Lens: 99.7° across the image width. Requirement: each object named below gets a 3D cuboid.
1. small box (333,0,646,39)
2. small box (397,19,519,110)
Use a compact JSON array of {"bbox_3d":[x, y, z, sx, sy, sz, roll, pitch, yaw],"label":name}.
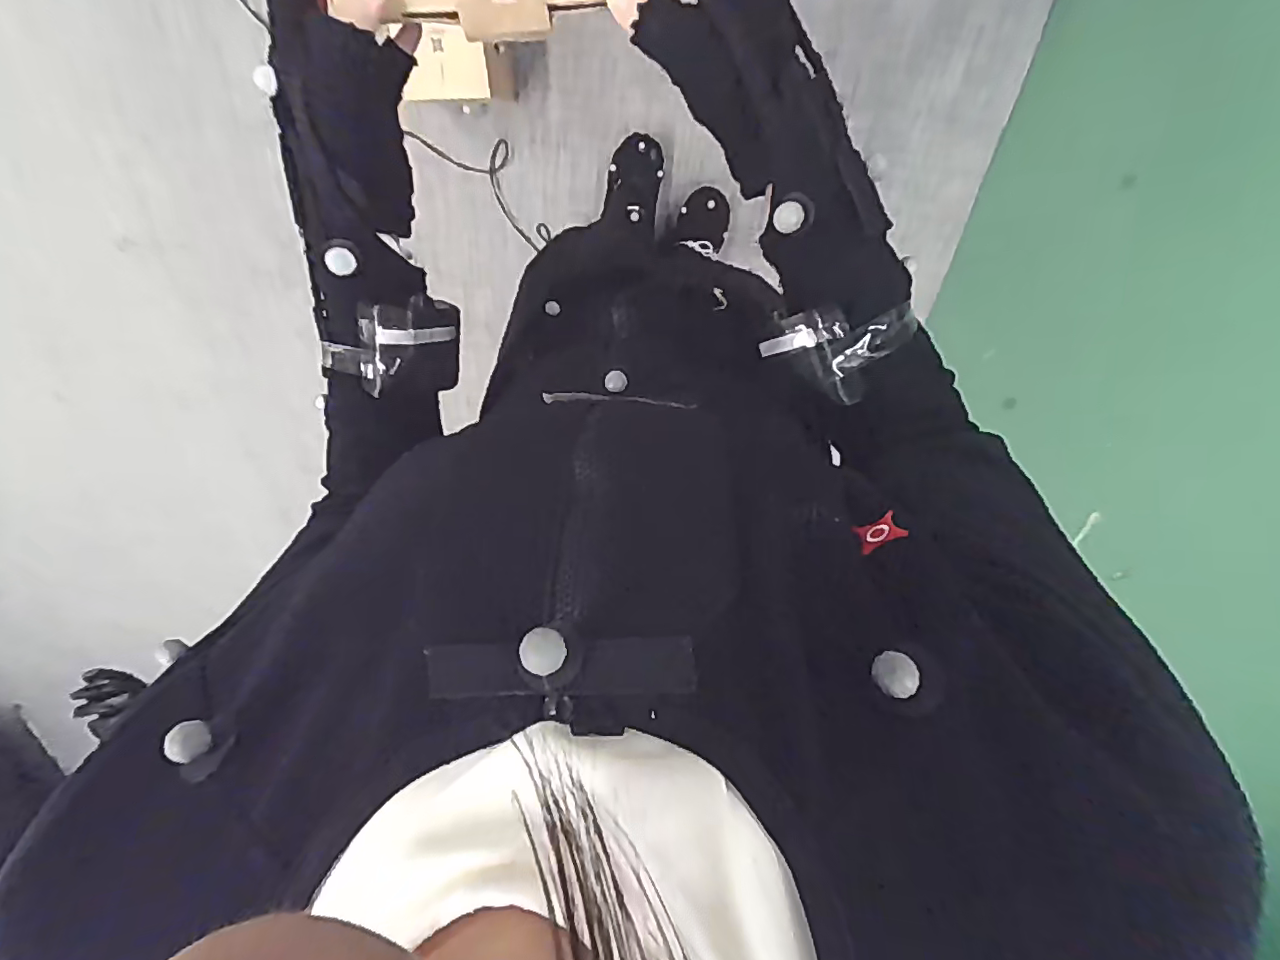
[{"bbox_3d":[-0.081,-0.351,0.275,0.168,0.176,0.179,-6,131,2],"label":"small box"},{"bbox_3d":[-0.337,-0.805,1.014,0.168,0.176,0.179,2,122,5],"label":"small box"}]
